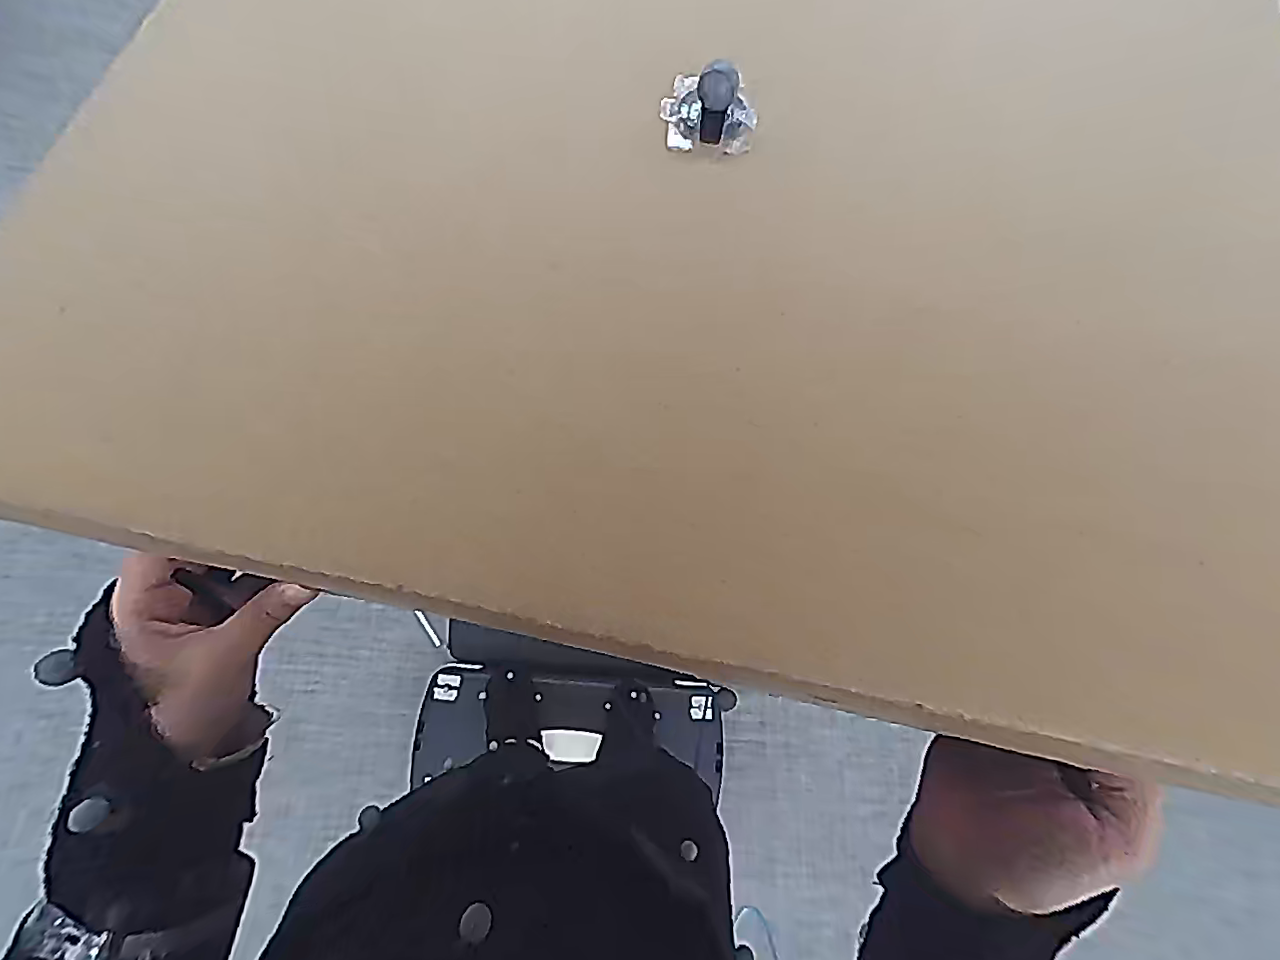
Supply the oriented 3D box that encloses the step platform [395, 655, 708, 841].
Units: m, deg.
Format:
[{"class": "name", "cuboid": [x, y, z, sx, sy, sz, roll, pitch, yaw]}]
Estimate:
[{"class": "step platform", "cuboid": [-0.186, 0.601, 1.243, 0.684, 0.204, 0.286, 10, 73, 0]}]
